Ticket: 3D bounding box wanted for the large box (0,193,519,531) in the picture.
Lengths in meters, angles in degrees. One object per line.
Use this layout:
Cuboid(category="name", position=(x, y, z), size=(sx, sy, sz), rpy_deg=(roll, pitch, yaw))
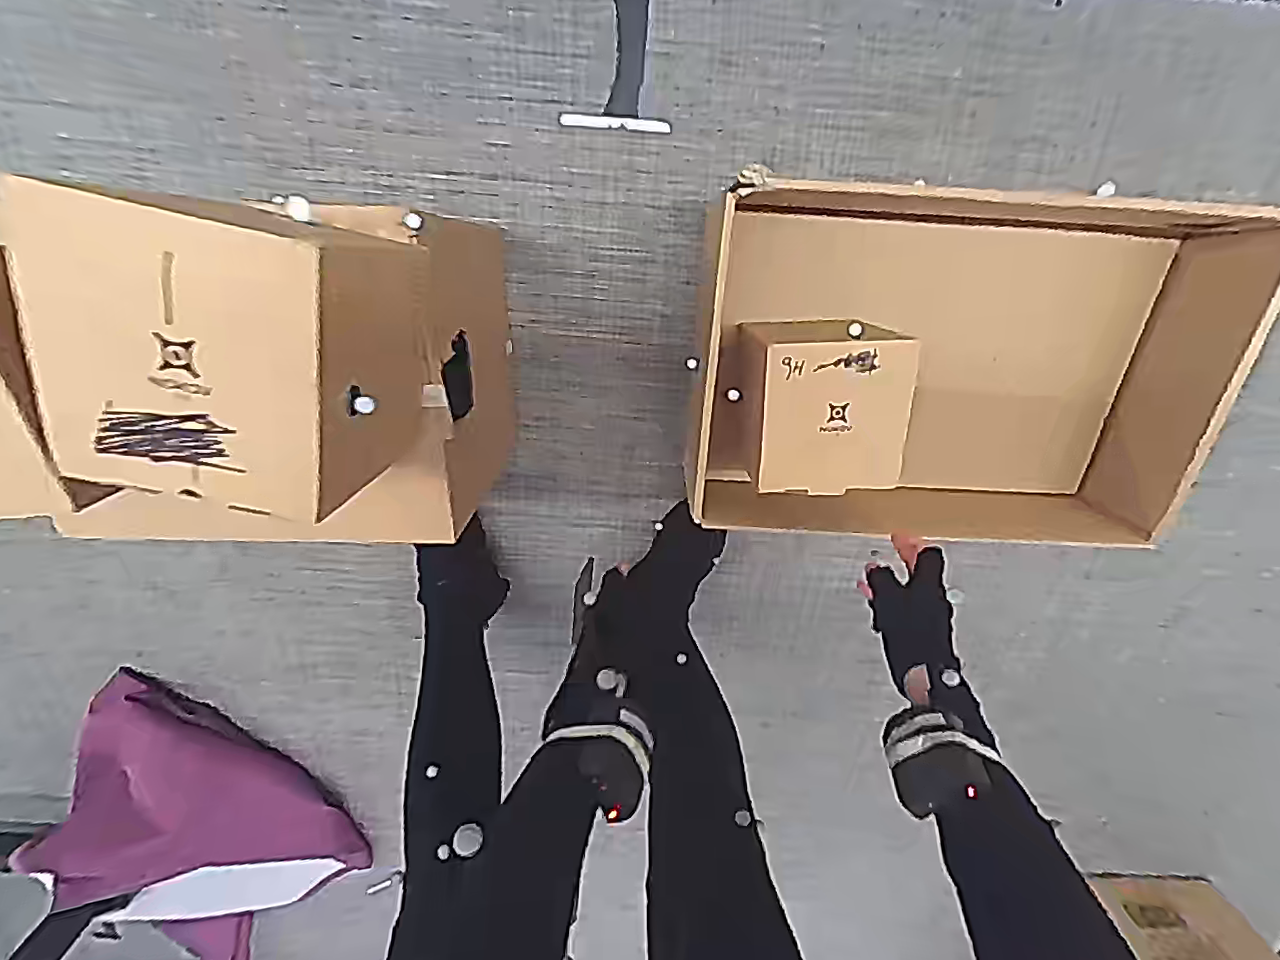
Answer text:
Cuboid(category="large box", position=(-0.381, -0.148, 0.641), size=(0.408, 0.320, 0.320), rpy_deg=(0, 113, -1))
